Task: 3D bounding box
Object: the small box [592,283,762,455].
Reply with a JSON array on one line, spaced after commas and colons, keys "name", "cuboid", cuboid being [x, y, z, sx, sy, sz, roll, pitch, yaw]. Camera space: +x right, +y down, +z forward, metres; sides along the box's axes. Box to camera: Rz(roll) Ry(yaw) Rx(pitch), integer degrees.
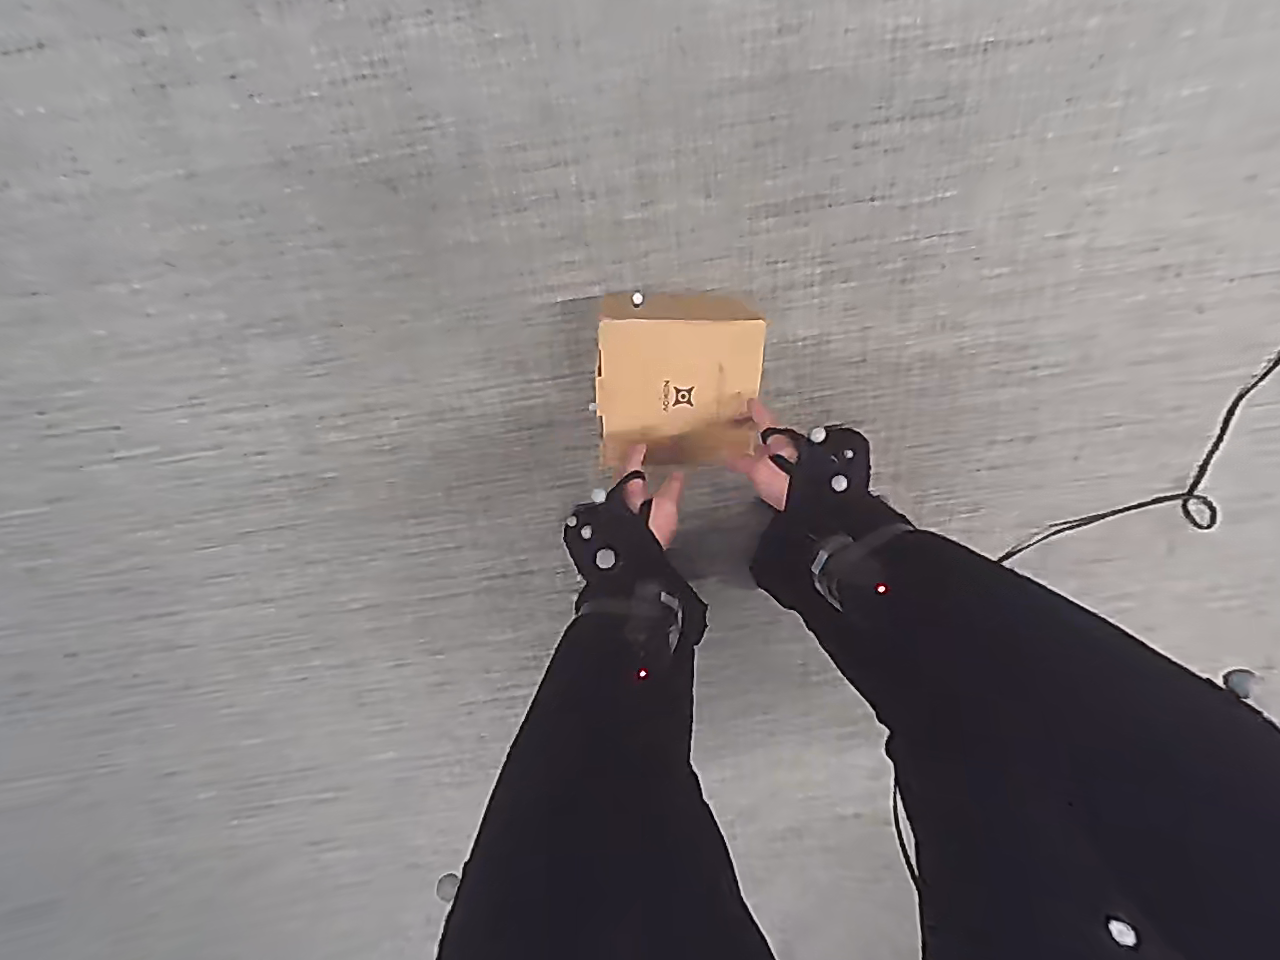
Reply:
[{"name": "small box", "cuboid": [0.034, -0.139, 0.656, 0.179, 0.176, 0.168, -1, 119, -3]}]
